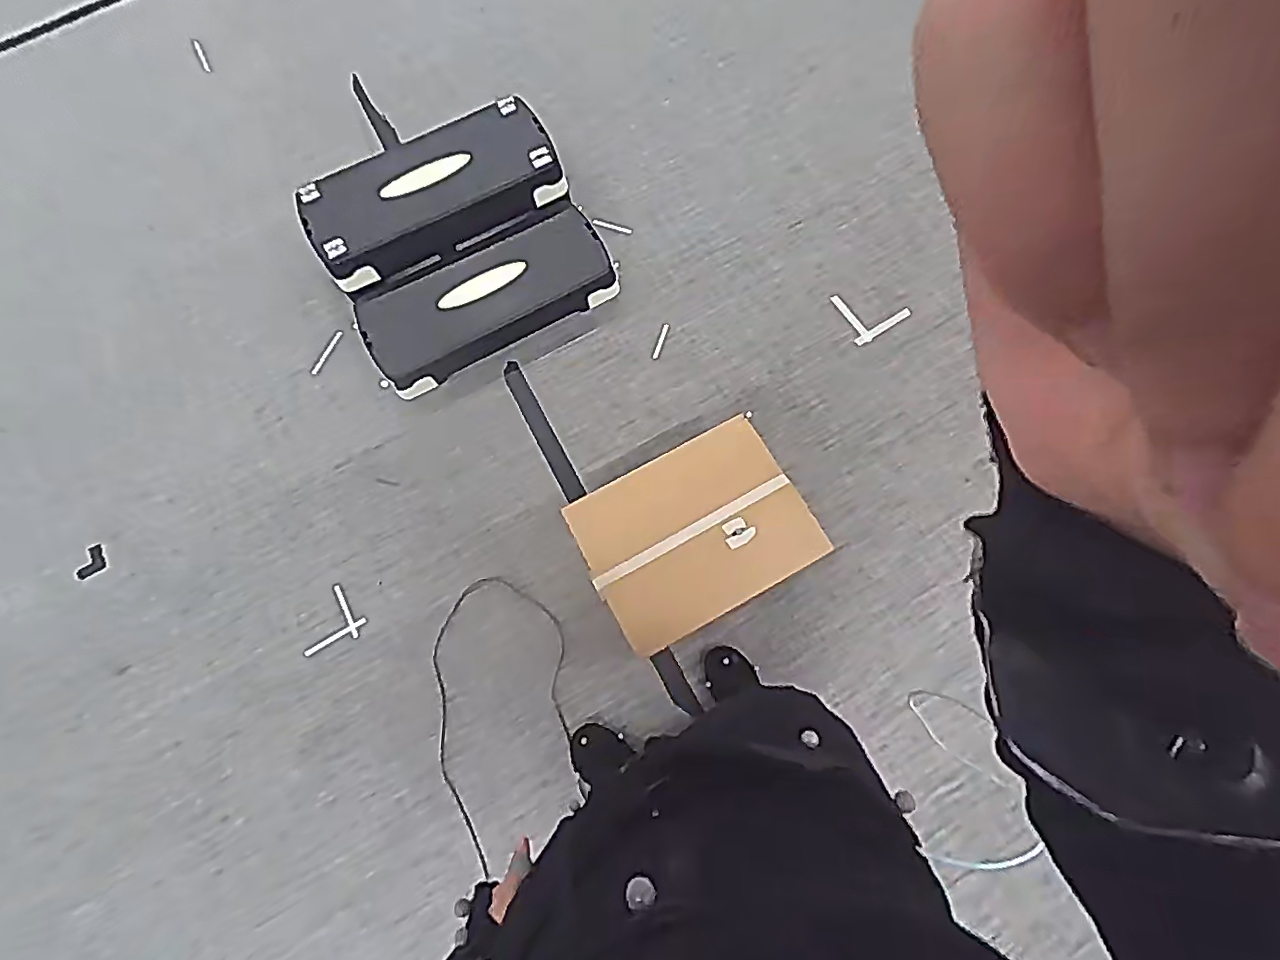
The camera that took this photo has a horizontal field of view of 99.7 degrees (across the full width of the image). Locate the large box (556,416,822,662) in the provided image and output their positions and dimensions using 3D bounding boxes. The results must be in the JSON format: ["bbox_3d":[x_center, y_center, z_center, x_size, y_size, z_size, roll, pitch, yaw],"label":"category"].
[{"bbox_3d":[0.090,0.140,1.131,0.408,0.320,0.320,-29,75,-7],"label":"large box"}]

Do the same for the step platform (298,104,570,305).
[{"bbox_3d":[-0.550,-0.749,1.472,0.684,0.204,0.286,-24,74,-5],"label":"step platform"}]
